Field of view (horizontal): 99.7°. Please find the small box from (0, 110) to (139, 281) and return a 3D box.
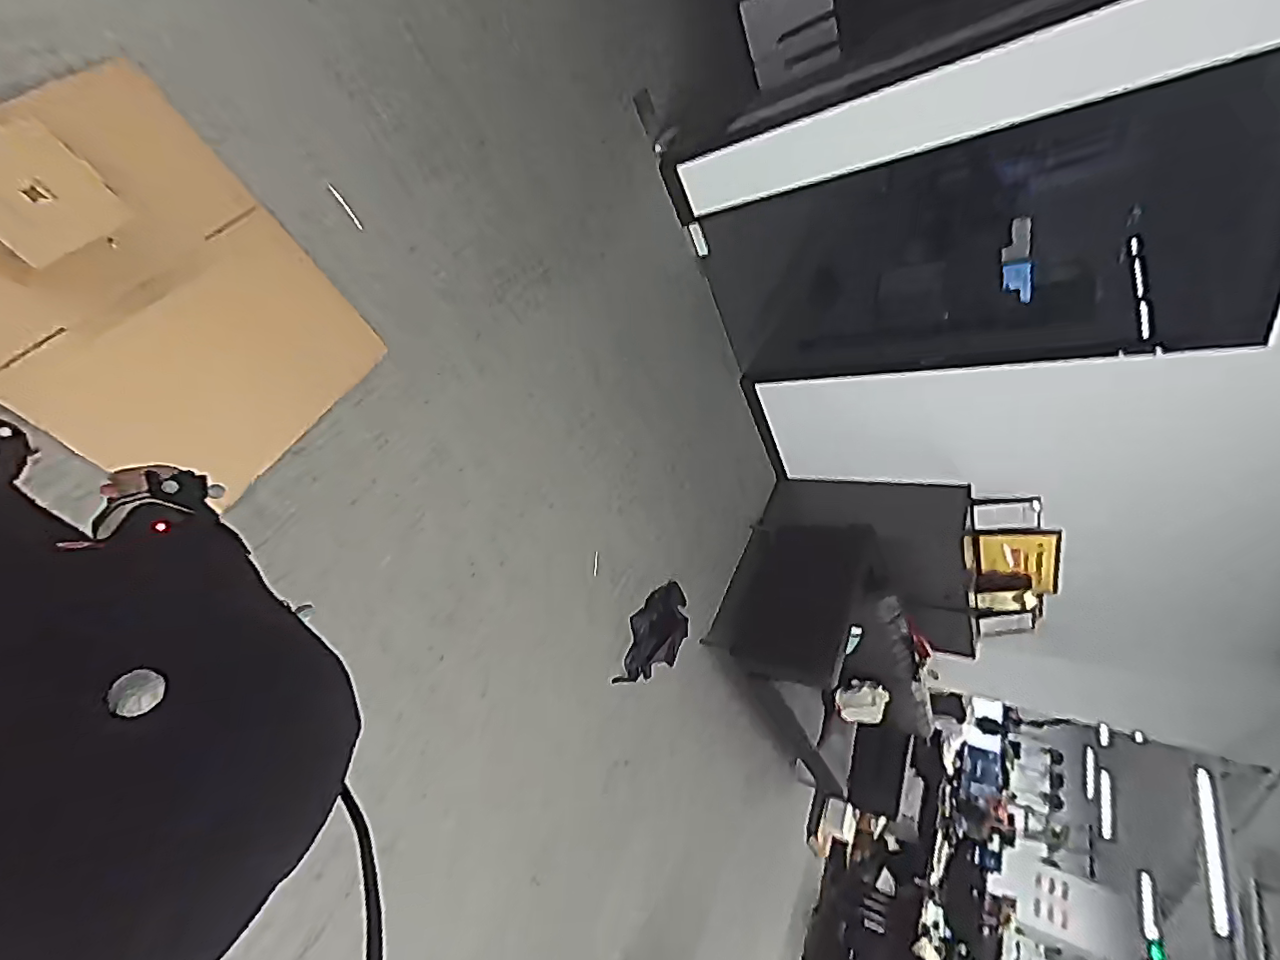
[{"bbox_3d":[-0.979,-0.447,0.867,0.179,0.176,0.168,-59,135,-31],"label":"small box"}]
